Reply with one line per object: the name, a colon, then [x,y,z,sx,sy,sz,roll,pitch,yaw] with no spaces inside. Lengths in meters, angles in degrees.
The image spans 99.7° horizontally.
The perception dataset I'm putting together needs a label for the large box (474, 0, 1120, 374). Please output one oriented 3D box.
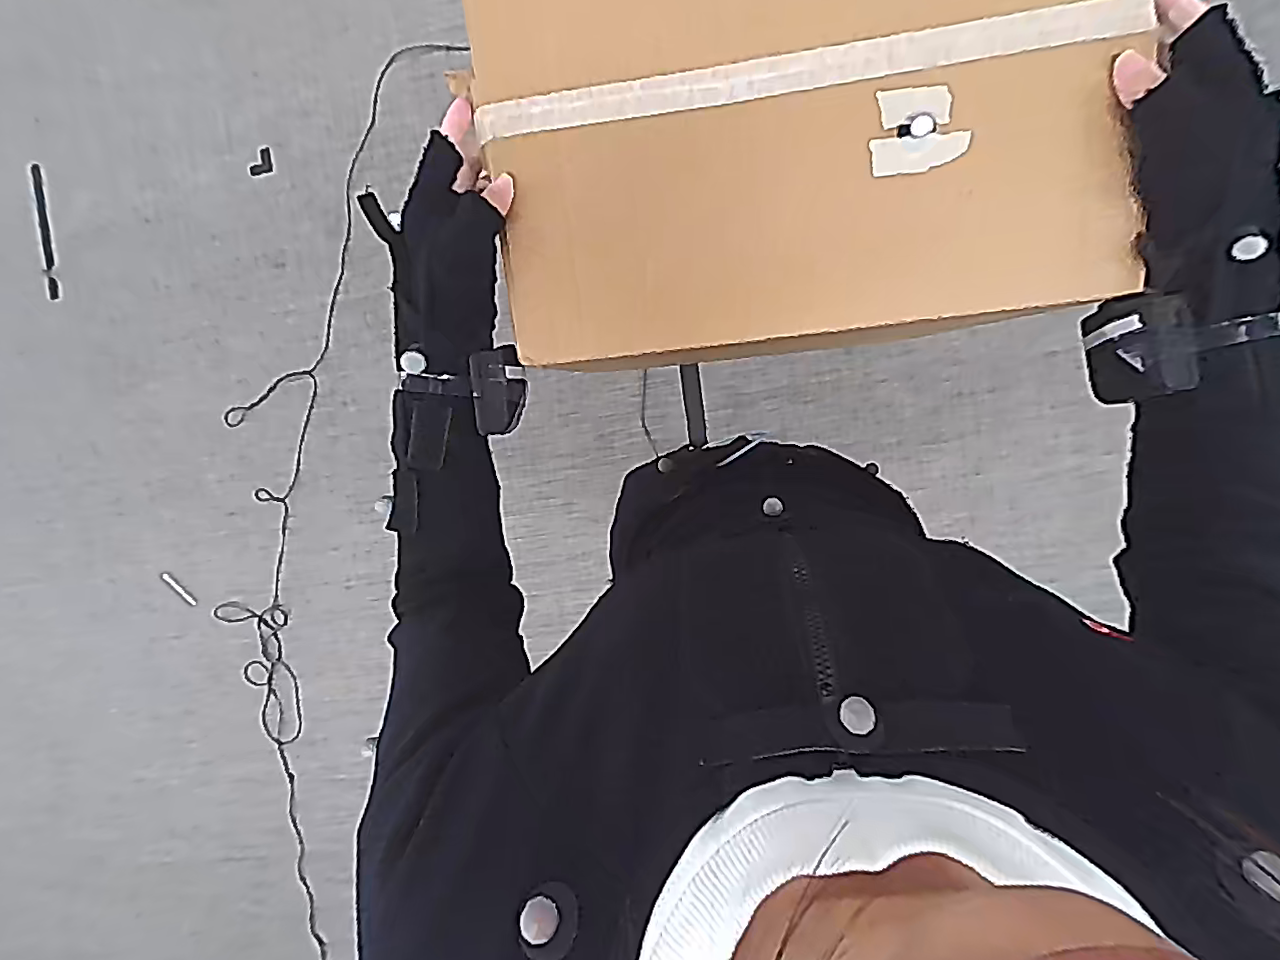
large box: [0.106,-0.281,0.496,0.408,0.320,0.320,-6,100,4]
